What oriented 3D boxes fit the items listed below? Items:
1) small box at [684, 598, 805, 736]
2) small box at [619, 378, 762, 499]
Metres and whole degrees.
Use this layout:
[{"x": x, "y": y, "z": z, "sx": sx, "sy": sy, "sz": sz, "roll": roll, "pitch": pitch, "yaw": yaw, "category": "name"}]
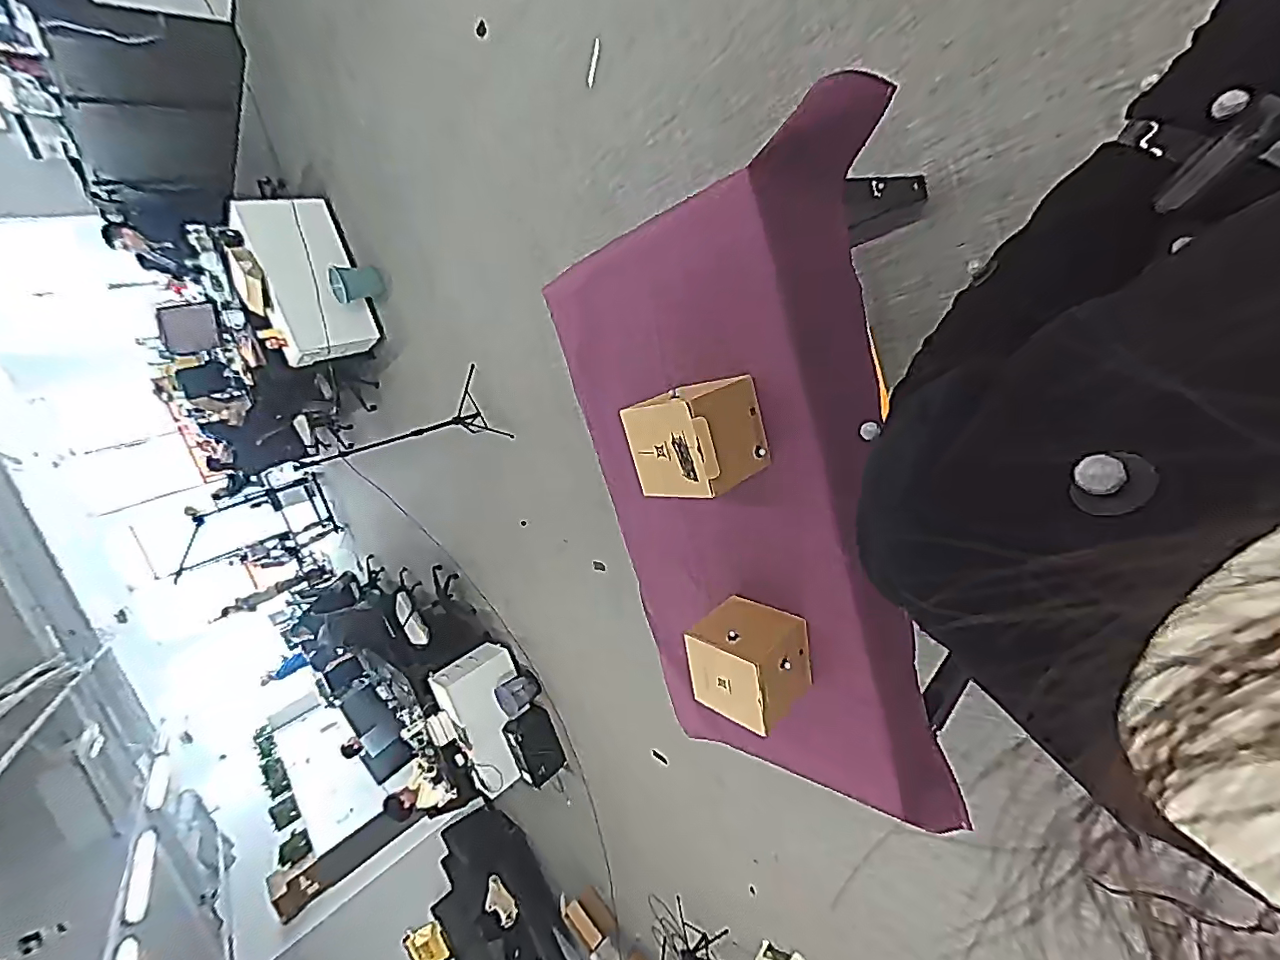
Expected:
[{"x": 0.215, "y": 0.360, "z": 1.078, "sx": 0.179, "sy": 0.176, "sz": 0.168, "roll": 11, "pitch": 118, "yaw": 46, "category": "small box"}, {"x": 0.097, "y": -0.075, "z": 0.962, "sx": 0.179, "sy": 0.176, "sz": 0.168, "roll": 0, "pitch": 111, "yaw": 50, "category": "small box"}]
